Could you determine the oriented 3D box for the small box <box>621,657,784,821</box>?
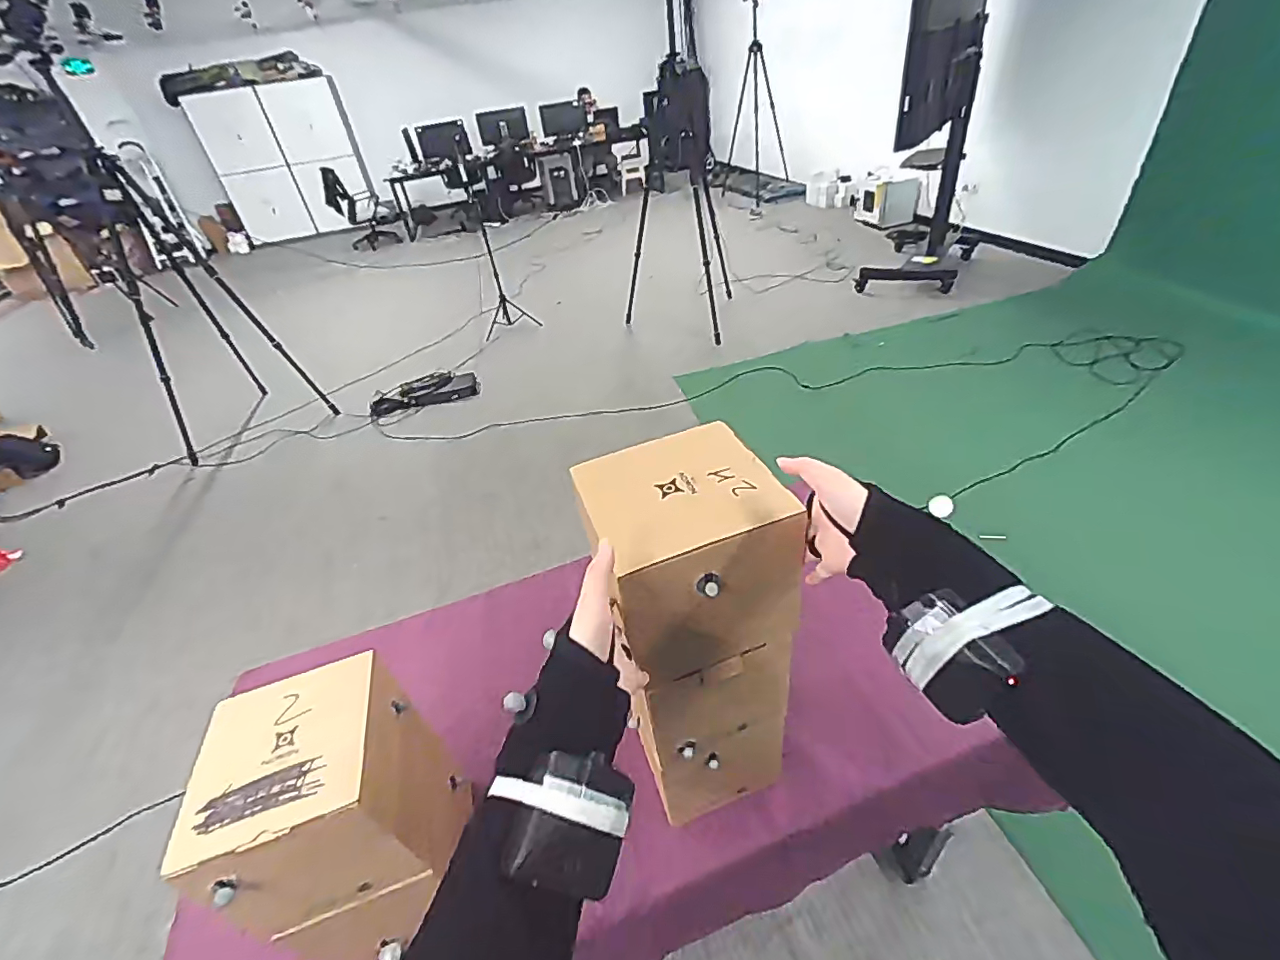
[{"bbox_3d":[0.084,0.330,0.757,0.168,0.176,0.179,-19,38,-9],"label":"small box"}]

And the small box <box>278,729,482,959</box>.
[{"bbox_3d":[-0.308,0.459,0.679,0.168,0.176,0.179,-17,39,-9],"label":"small box"}]

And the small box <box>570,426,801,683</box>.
[{"bbox_3d":[0.045,0.075,0.553,0.179,0.176,0.168,-17,40,-10],"label":"small box"}]

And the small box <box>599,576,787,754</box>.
[{"bbox_3d":[0.064,0.201,0.658,0.168,0.176,0.179,-18,38,-11],"label":"small box"}]
